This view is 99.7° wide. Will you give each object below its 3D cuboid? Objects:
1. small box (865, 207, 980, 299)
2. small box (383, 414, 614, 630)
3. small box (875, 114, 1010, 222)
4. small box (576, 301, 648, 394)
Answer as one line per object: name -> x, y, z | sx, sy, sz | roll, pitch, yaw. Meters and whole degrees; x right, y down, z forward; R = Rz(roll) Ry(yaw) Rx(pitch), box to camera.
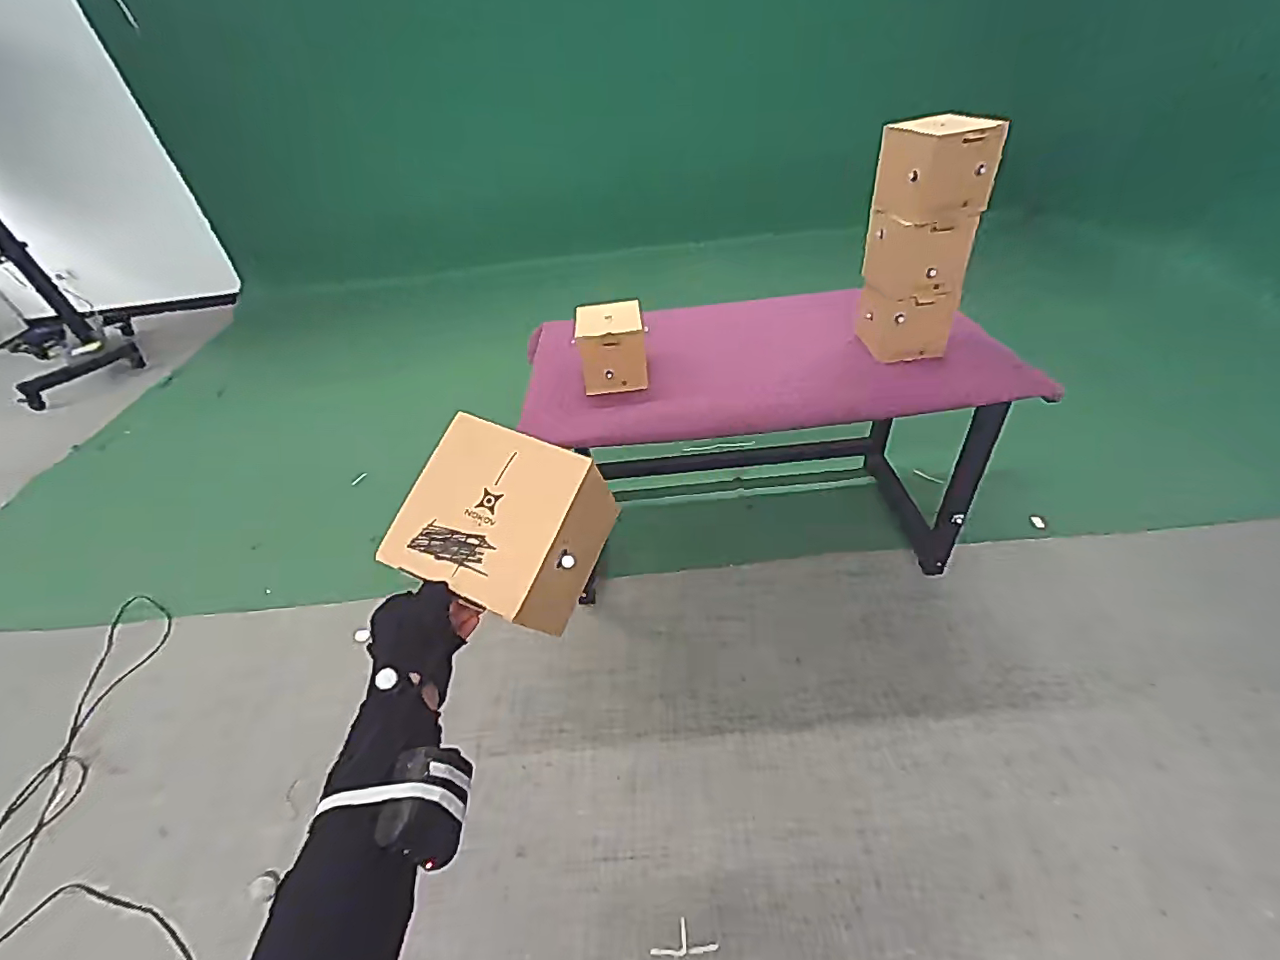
small box -> 0.649, -0.544, 1.270 | 0.168, 0.176, 0.179 | -8, 41, 1
small box -> -0.142, 0.058, 0.618 | 0.168, 0.176, 0.179 | 20, 74, 14
small box -> 0.638, -0.667, 1.163 | 0.168, 0.176, 0.179 | -15, 41, -8
small box -> -0.071, -0.346, 1.412 | 0.168, 0.176, 0.179 | -6, 43, 1
